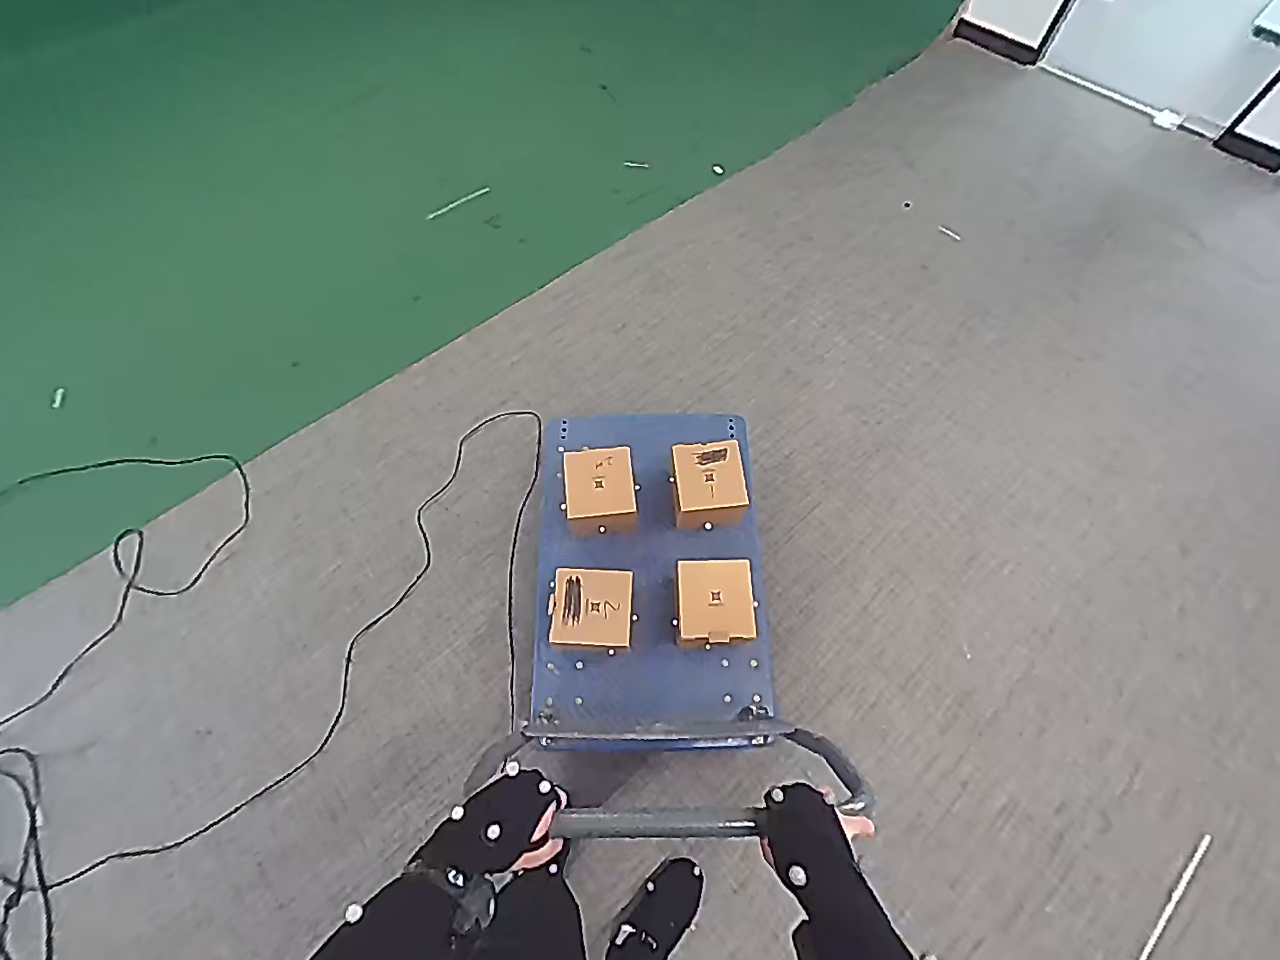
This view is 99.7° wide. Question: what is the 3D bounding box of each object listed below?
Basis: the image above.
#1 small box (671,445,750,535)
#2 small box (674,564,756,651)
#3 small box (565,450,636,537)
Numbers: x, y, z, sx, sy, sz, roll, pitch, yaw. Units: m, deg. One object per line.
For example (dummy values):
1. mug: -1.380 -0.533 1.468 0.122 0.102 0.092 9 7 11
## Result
1. small box: 0.172 0.028 1.382 0.168 0.176 0.179 -5 68 -2
2. small box: 0.169 0.302 1.270 0.168 0.176 0.179 0 68 0
3. small box: -0.097 0.042 1.375 0.168 0.176 0.179 -5 68 -3
